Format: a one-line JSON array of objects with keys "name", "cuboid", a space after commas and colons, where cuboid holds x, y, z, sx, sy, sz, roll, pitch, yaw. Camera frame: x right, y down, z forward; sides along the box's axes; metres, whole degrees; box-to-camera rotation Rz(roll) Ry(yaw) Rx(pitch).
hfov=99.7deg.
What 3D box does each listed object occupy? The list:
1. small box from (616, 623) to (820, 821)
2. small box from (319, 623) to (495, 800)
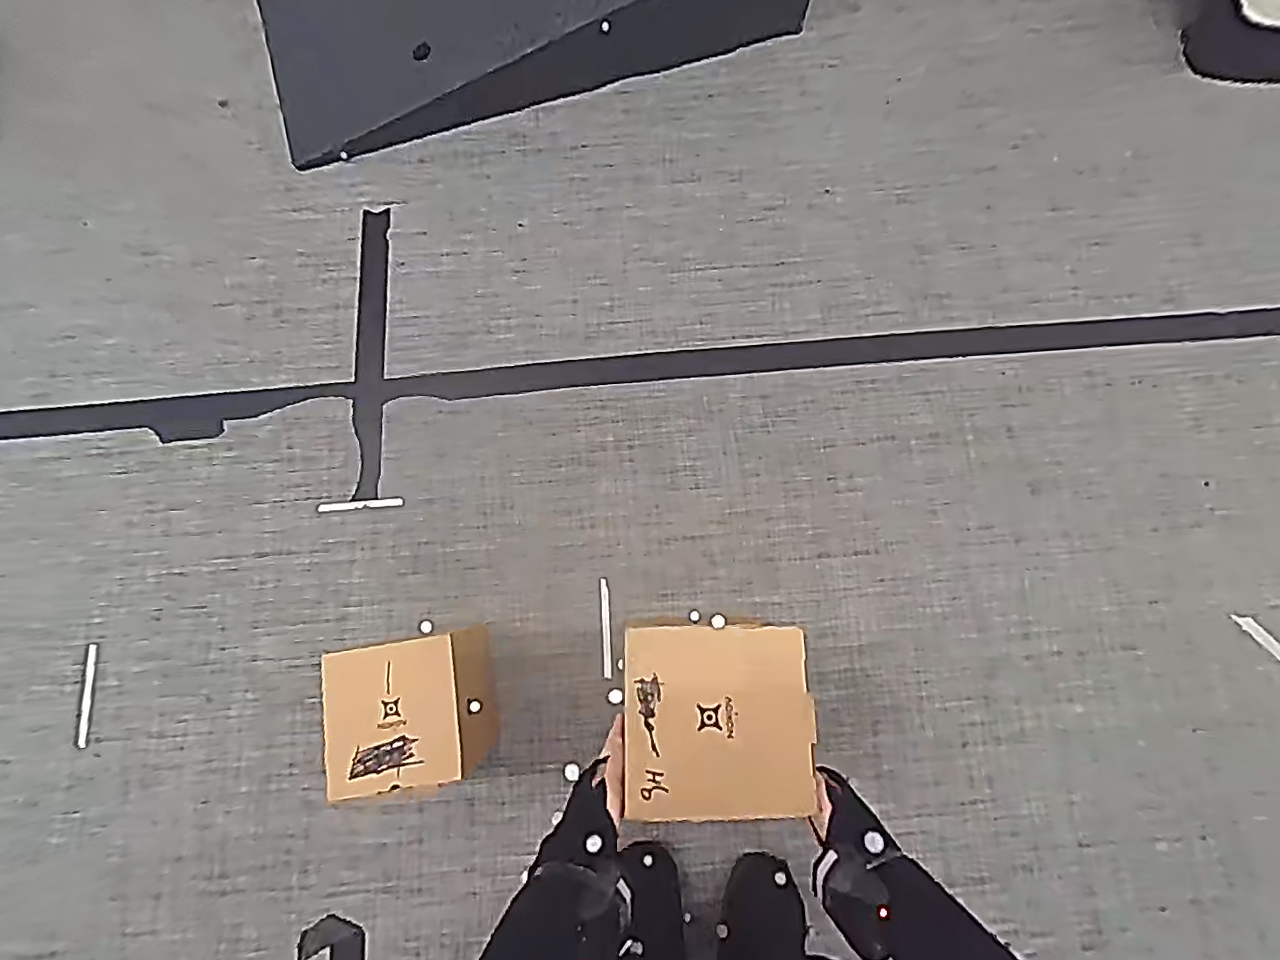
[{"name": "small box", "cuboid": [0.066, 0.240, 0.565, 0.179, 0.176, 0.168, 1, 71, -3]}, {"name": "small box", "cuboid": [-0.306, 0.301, 0.738, 0.168, 0.176, 0.179, -9, 79, -1]}]
